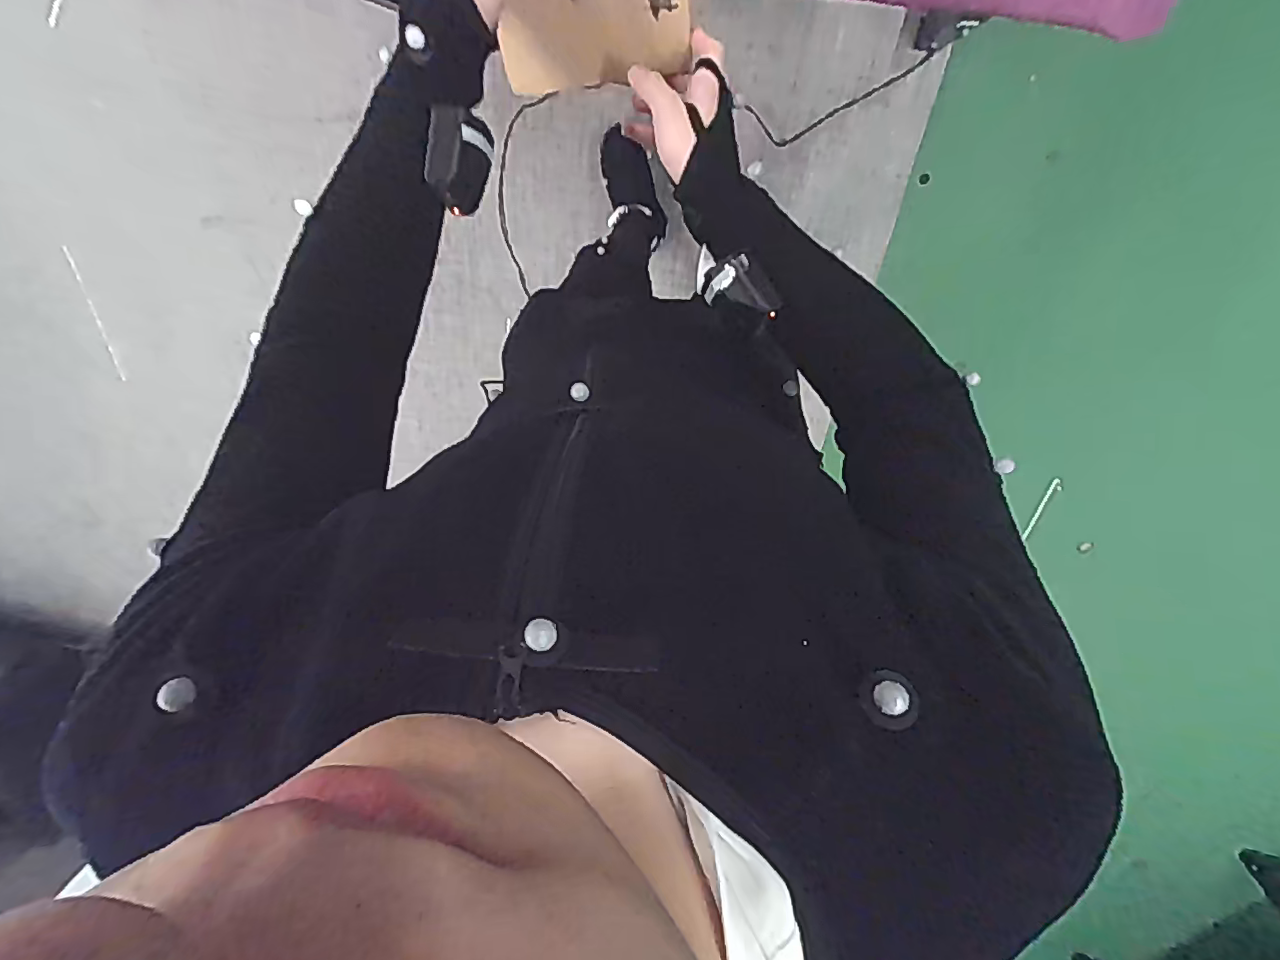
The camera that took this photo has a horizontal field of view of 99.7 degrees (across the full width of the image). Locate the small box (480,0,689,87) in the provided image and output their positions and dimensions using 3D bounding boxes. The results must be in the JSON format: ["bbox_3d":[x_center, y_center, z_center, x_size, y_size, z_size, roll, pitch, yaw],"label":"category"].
[{"bbox_3d":[-0.047,-0.486,0.479,0.179,0.176,0.168,1,150,8],"label":"small box"}]
